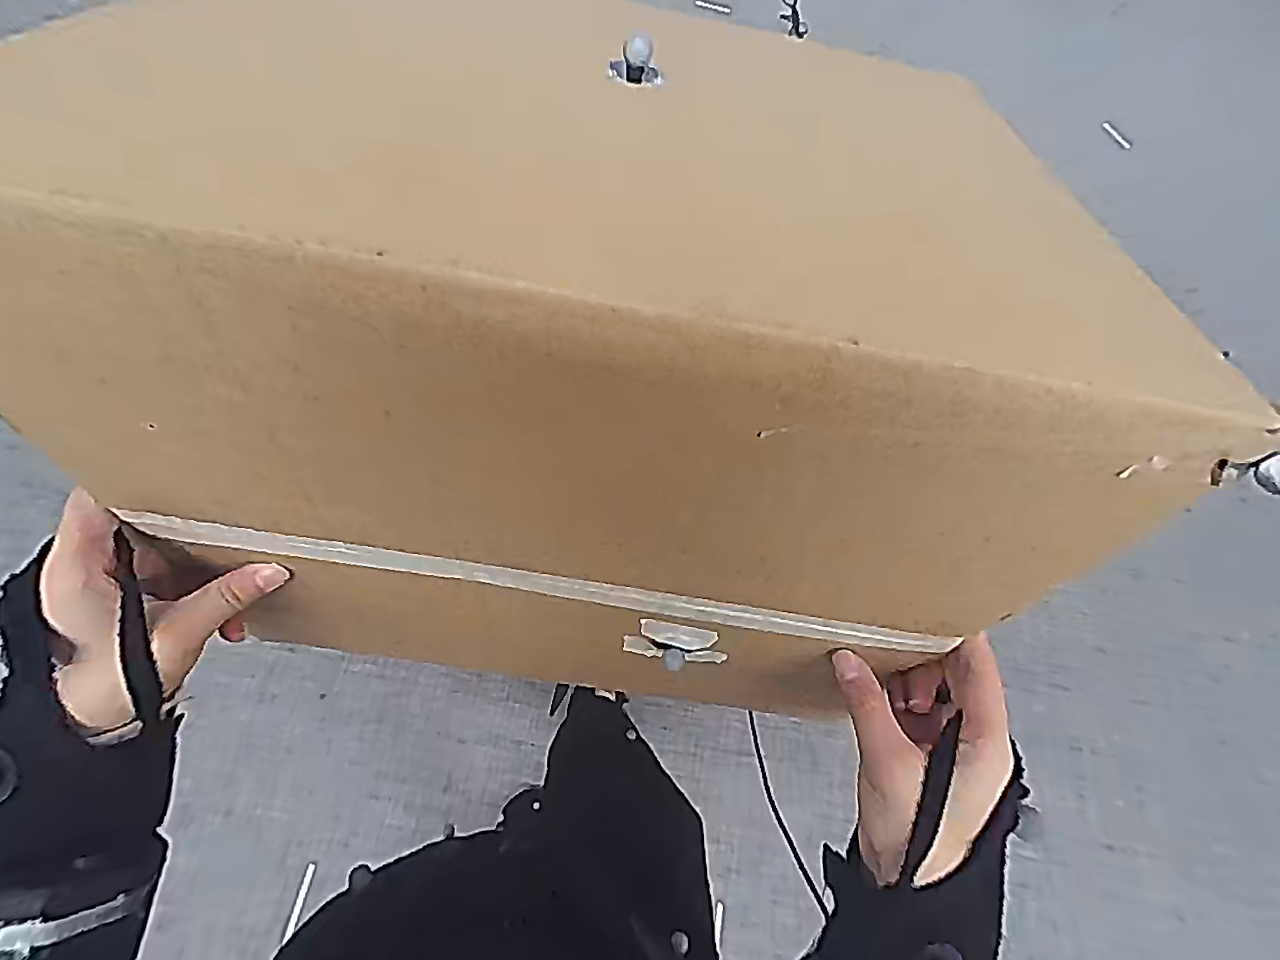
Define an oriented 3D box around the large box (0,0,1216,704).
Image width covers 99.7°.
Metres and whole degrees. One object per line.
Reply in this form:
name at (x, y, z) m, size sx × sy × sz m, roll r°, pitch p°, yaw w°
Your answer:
large box at (-0.028, -0.073, 0.363) m, size 0.408 × 0.320 × 0.320 m, roll 8°, pitch 53°, yaw -3°
